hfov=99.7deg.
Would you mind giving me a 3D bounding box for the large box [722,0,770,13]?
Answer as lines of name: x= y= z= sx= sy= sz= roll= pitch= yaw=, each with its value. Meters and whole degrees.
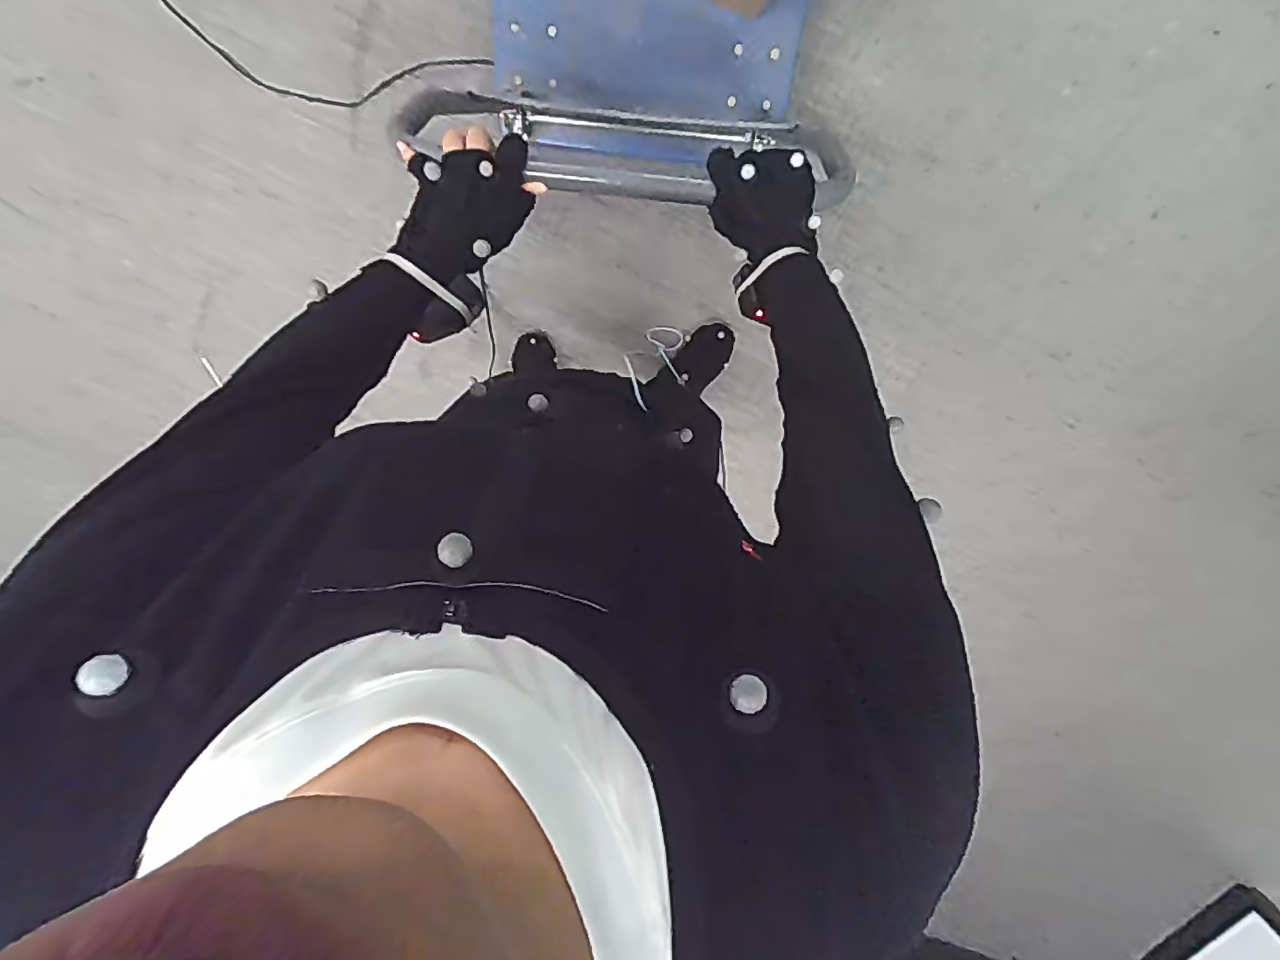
large box: x=0.071 y=-0.948 z=0.763 sx=0.408 sy=0.320 sz=0.320 roll=18 pitch=121 yaw=-8
